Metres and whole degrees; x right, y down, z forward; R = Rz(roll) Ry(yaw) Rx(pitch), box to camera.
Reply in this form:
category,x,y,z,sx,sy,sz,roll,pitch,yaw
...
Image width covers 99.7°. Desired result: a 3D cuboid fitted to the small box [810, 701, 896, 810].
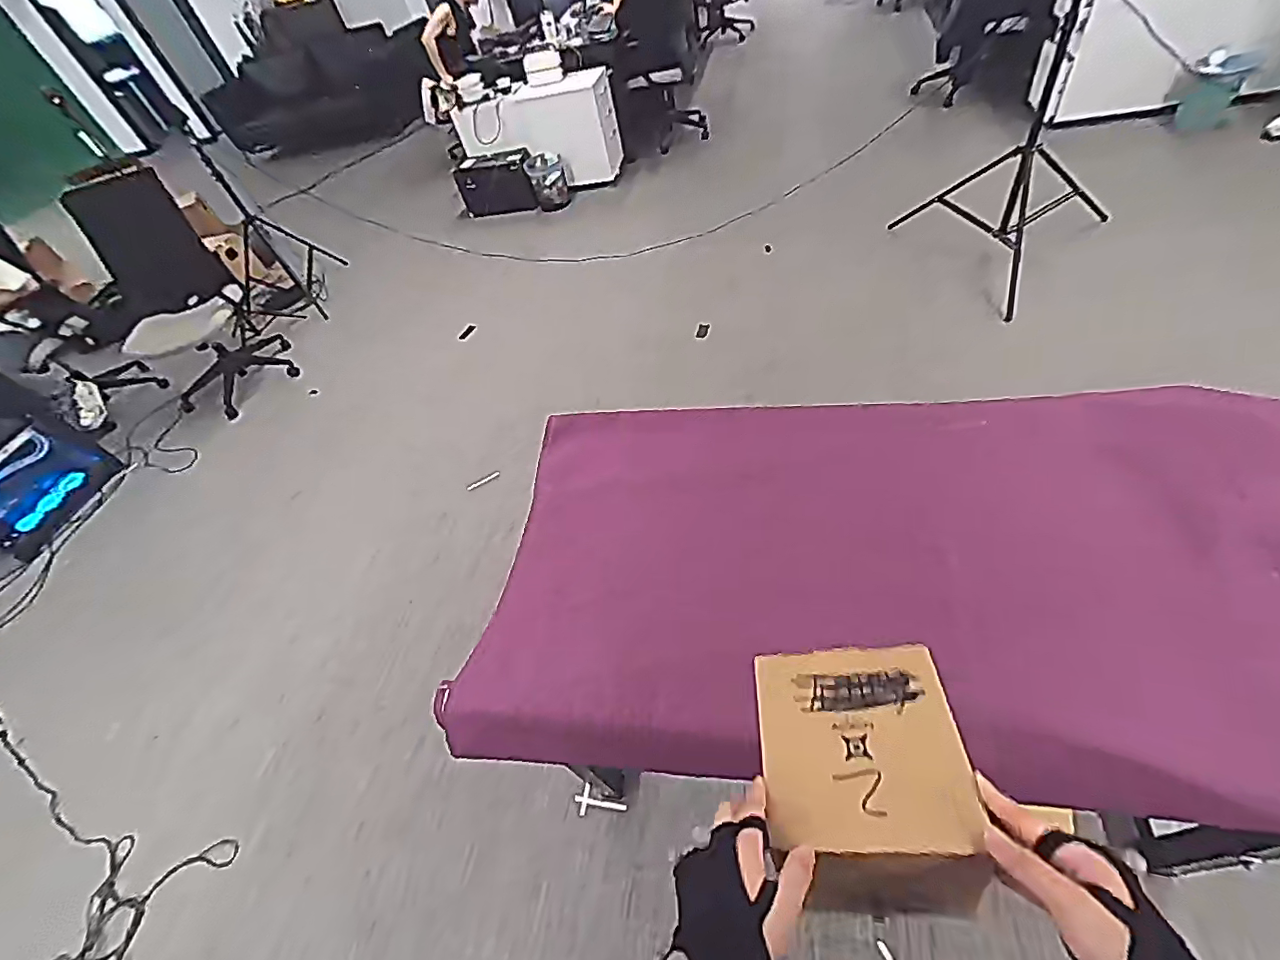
category,x,y,z,sx,sy,sz,roll,pitch,yaw
small box,0.480,0.632,1.233,0.168,0.176,0.179,3,51,16

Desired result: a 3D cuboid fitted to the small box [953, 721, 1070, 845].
category,x,y,z,sx,sy,sz,roll,pitch,yaw
small box,0.776,0.645,1.148,0.168,0.176,0.179,8,52,21
